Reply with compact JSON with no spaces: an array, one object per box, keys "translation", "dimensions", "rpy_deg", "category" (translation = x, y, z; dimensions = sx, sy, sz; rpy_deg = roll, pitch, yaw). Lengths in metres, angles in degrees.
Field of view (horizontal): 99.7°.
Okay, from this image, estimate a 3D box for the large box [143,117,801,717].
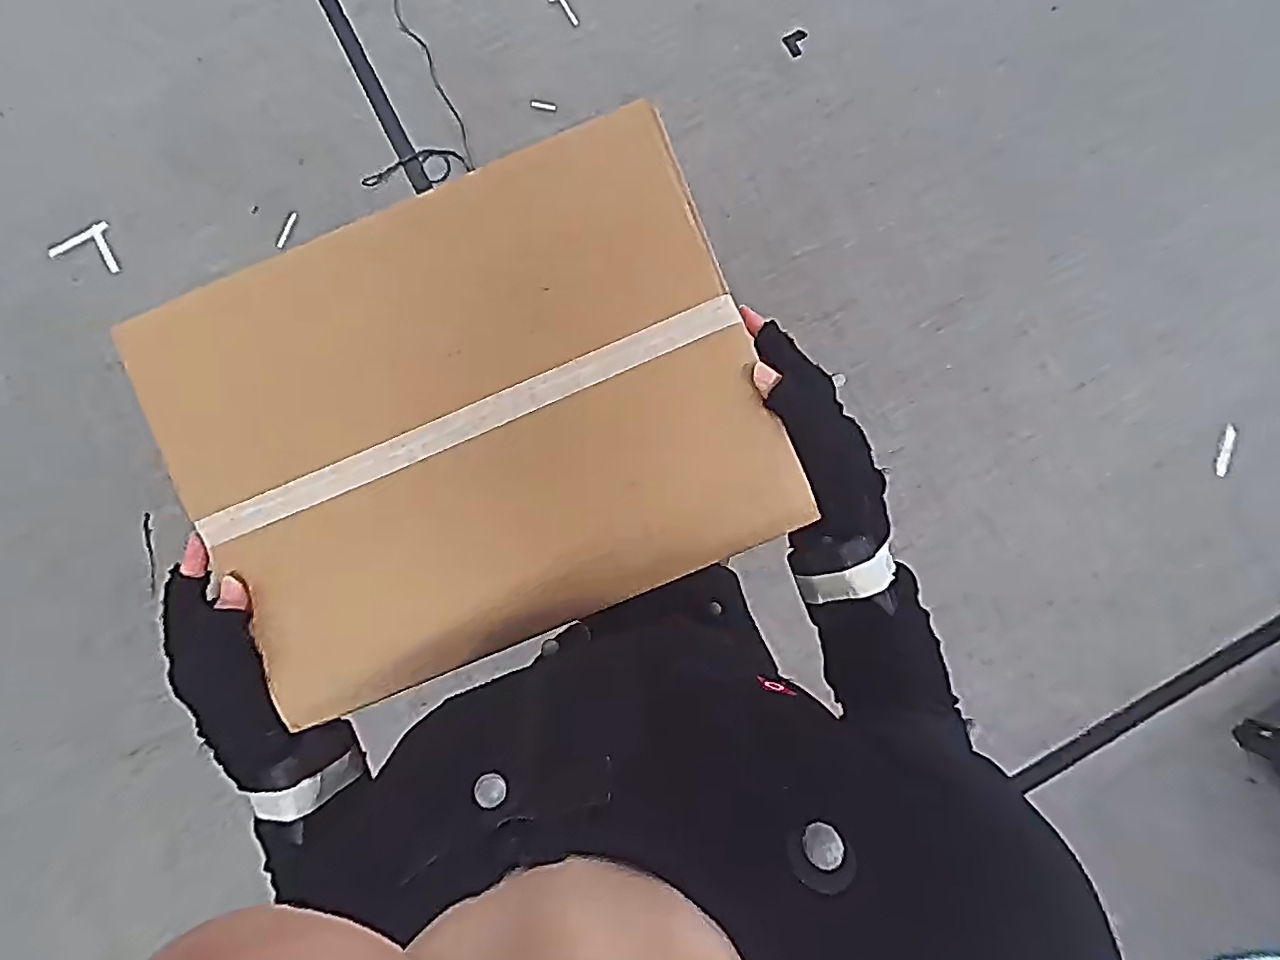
[{"translation":[-0.118,-0.047,0.537],"dimensions":[0.408,0.320,0.320],"rpy_deg":[-22,91,2],"category":"large box"}]
